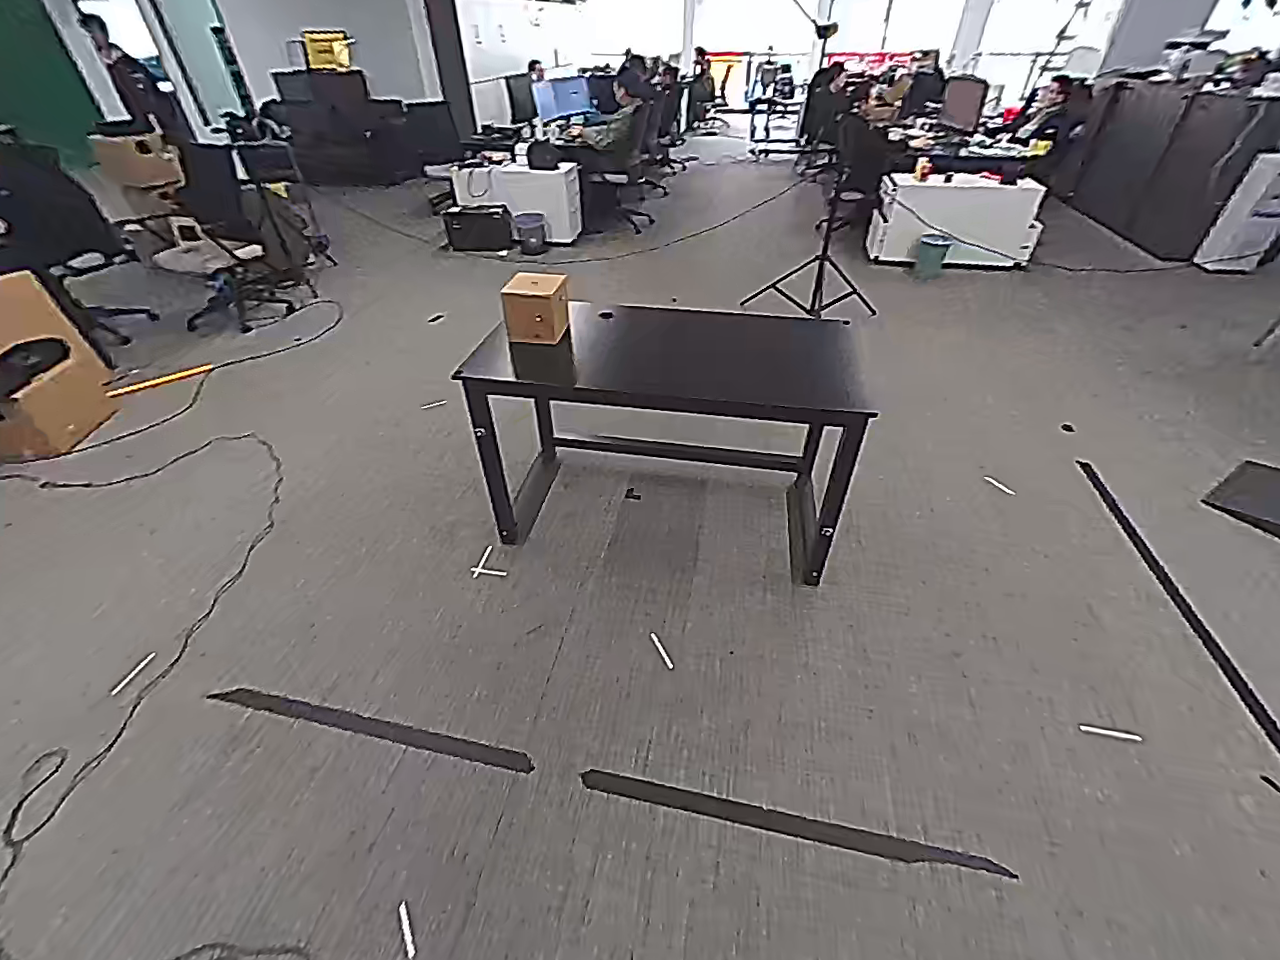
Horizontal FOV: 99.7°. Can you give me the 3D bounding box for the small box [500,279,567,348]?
[{"bbox_3d":[-0.342,-0.548,1.781,0.168,0.176,0.179,6,39,6],"label":"small box"}]
